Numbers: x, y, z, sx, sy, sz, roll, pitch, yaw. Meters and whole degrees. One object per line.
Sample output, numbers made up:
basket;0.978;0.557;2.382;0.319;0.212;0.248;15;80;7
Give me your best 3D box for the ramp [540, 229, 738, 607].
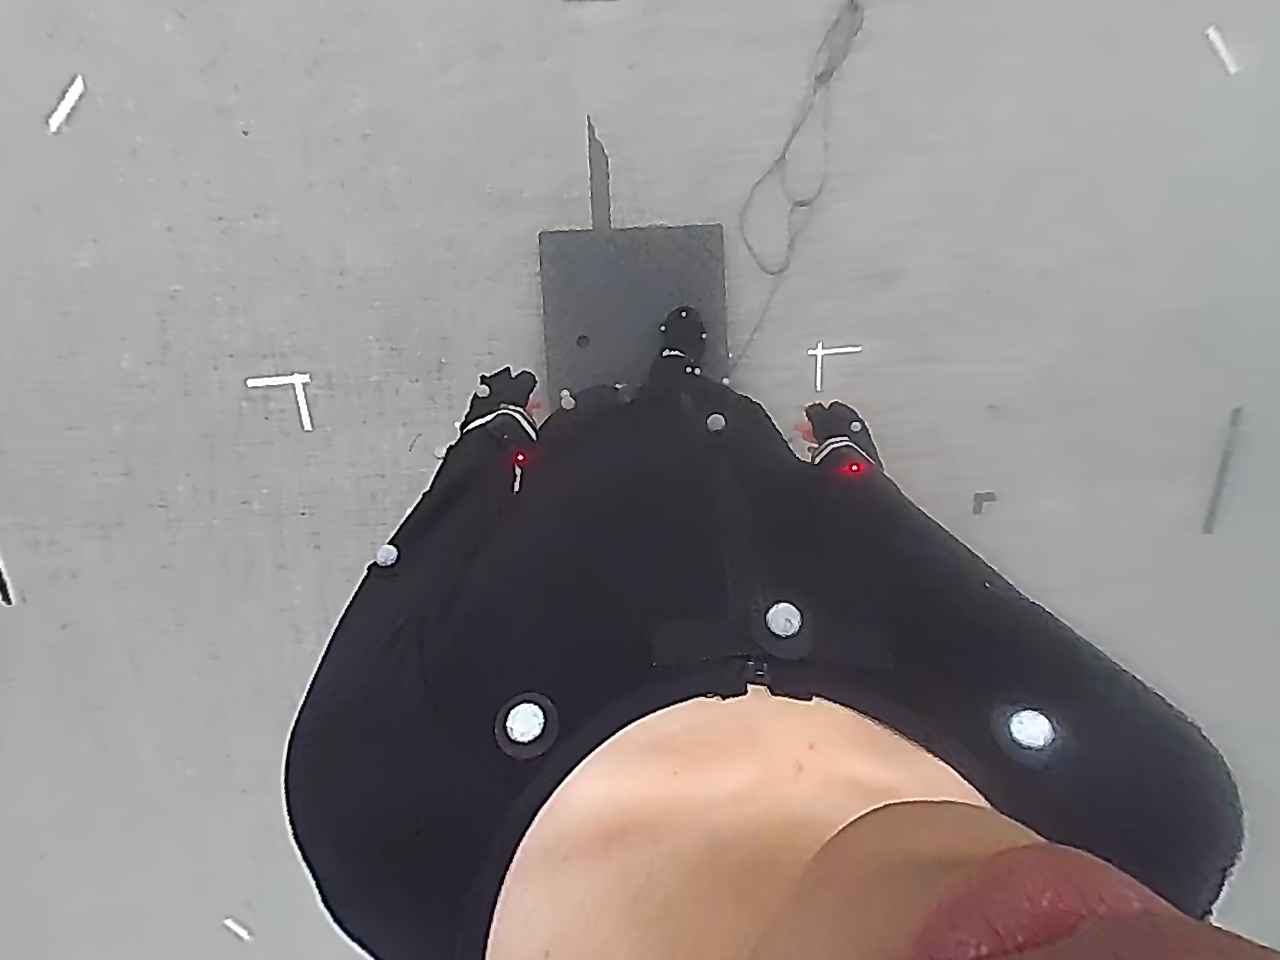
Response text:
ramp;-0.001;-0.160;1.467;0.509;0.206;0.991;-5;103;1
